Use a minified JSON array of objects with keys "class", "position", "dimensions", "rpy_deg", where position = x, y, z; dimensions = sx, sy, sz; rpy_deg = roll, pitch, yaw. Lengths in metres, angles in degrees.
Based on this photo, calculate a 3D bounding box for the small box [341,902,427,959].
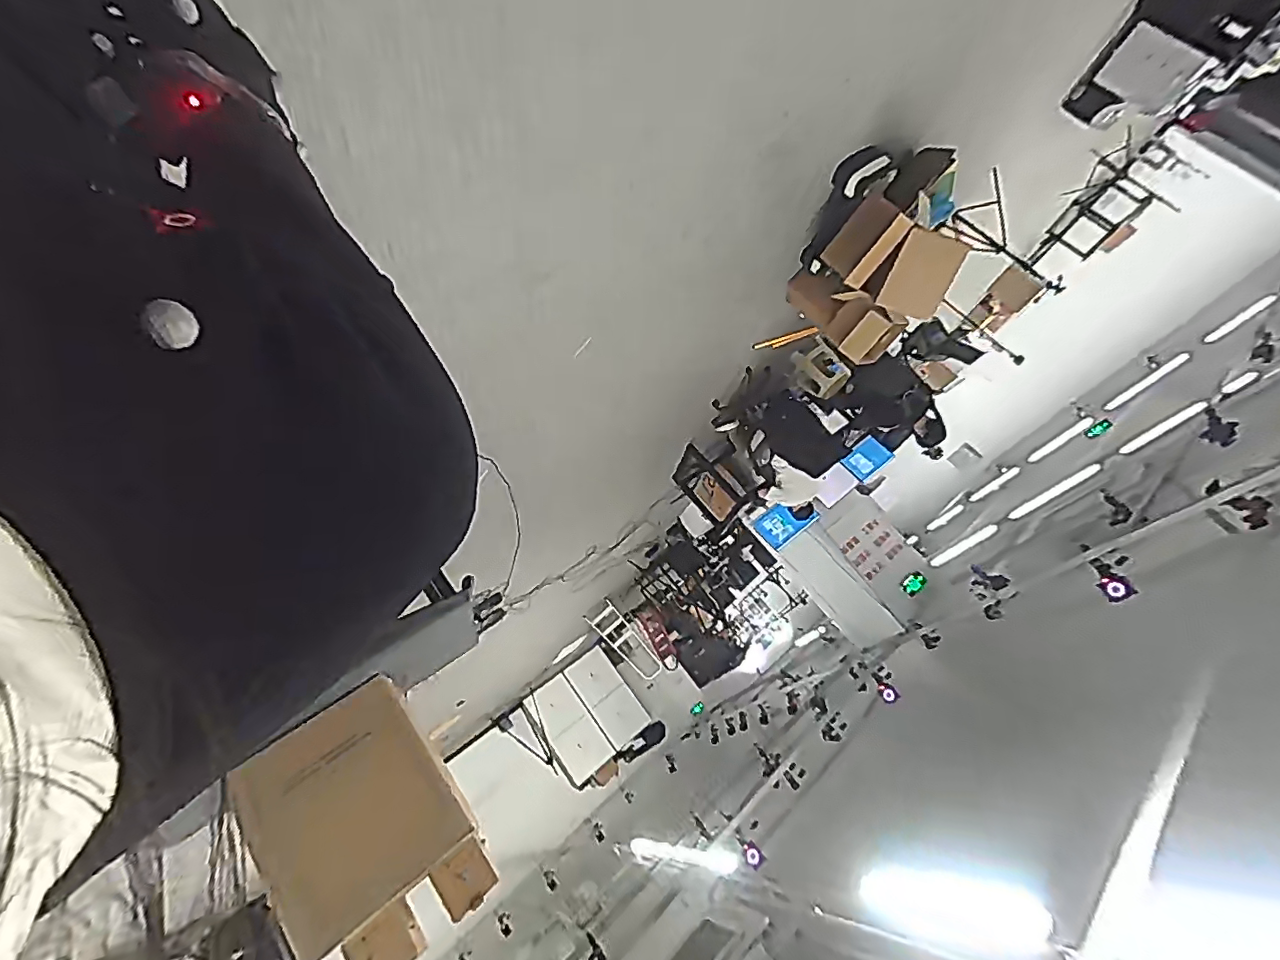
[{"class":"small box","position":[-0.772,1.430,1.635],"dimensions":[0.168,0.176,0.179],"rpy_deg":[-31,159,-26]}]

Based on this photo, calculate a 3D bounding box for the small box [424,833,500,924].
[{"class":"small box","position":[-0.581,1.294,1.769],"dimensions":[0.168,0.176,0.179],"rpy_deg":[-35,160,-24]}]
